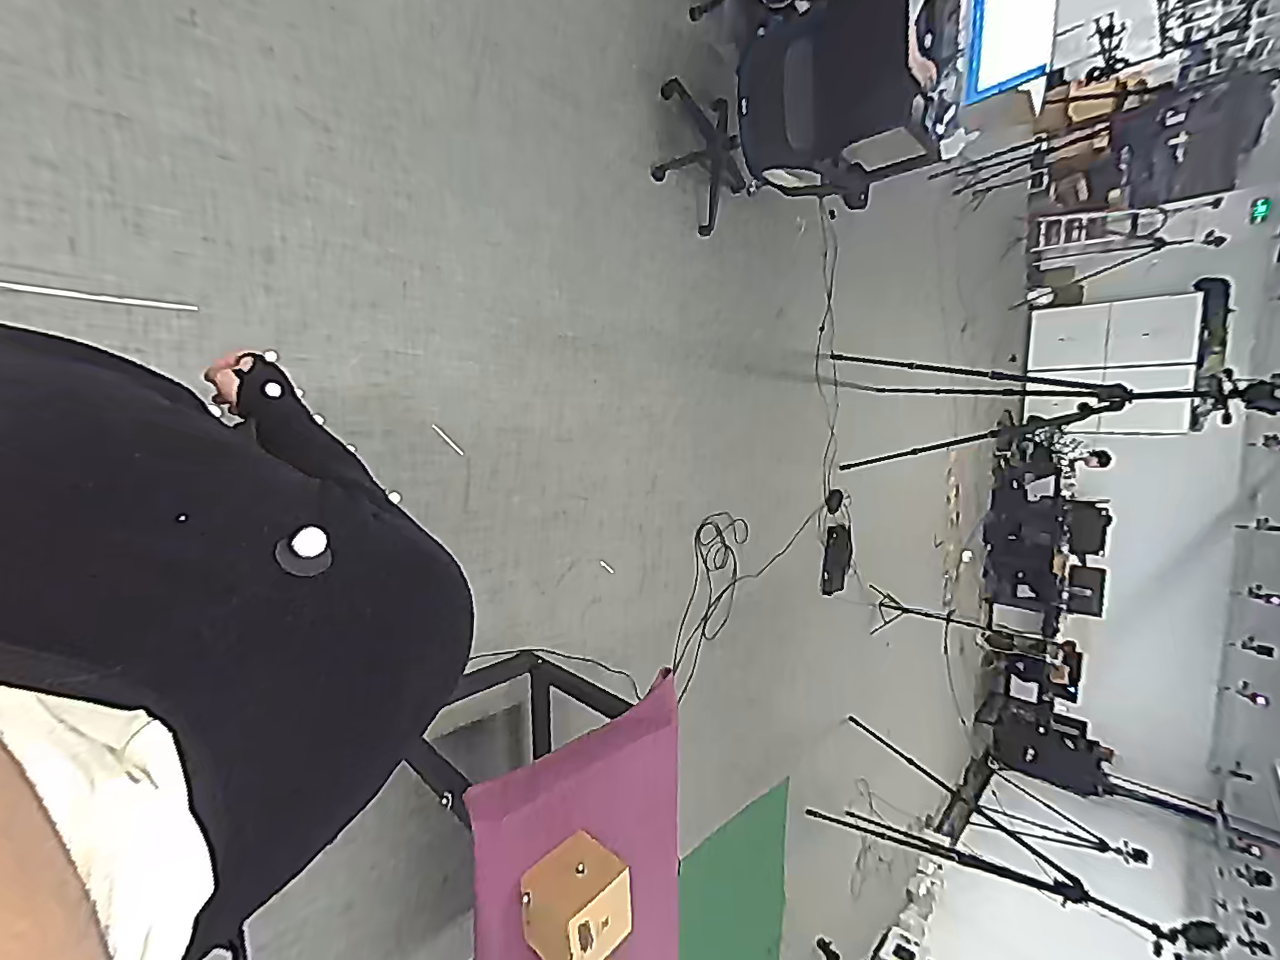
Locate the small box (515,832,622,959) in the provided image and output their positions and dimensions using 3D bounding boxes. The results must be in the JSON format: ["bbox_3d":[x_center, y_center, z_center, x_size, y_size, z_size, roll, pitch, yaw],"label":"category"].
[{"bbox_3d":[-0.161,0.931,1.189,0.179,0.176,0.168,-11,103,-46],"label":"small box"}]
